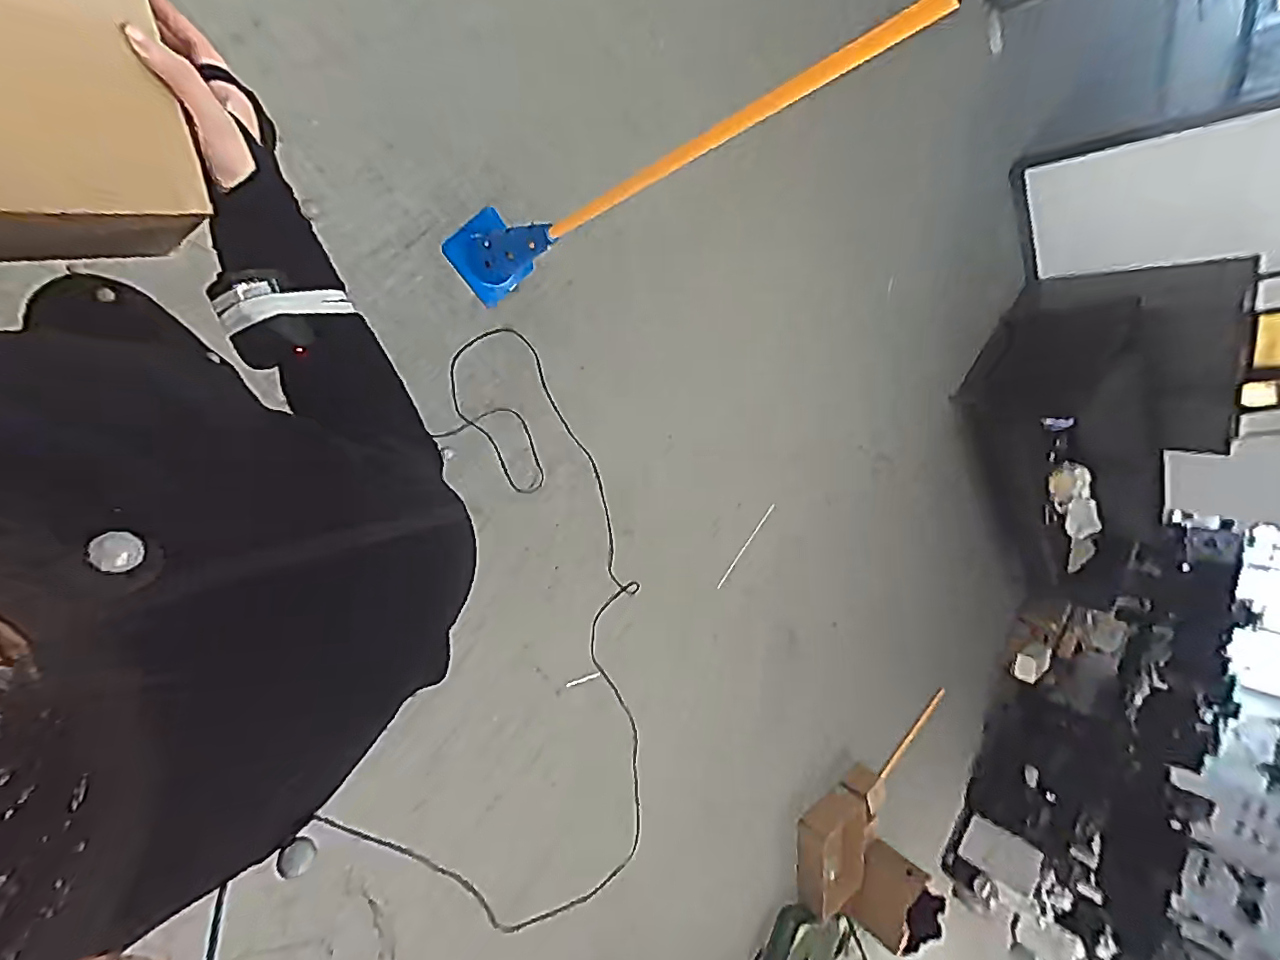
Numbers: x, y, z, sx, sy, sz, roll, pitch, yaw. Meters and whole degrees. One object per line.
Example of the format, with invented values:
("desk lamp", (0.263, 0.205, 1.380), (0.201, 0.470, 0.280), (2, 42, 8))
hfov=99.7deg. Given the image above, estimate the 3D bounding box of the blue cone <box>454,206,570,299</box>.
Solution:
("blue cone", (-0.296, -0.603, 1.359), (0.193, 0.380, 0.192), (-55, 127, -18))
